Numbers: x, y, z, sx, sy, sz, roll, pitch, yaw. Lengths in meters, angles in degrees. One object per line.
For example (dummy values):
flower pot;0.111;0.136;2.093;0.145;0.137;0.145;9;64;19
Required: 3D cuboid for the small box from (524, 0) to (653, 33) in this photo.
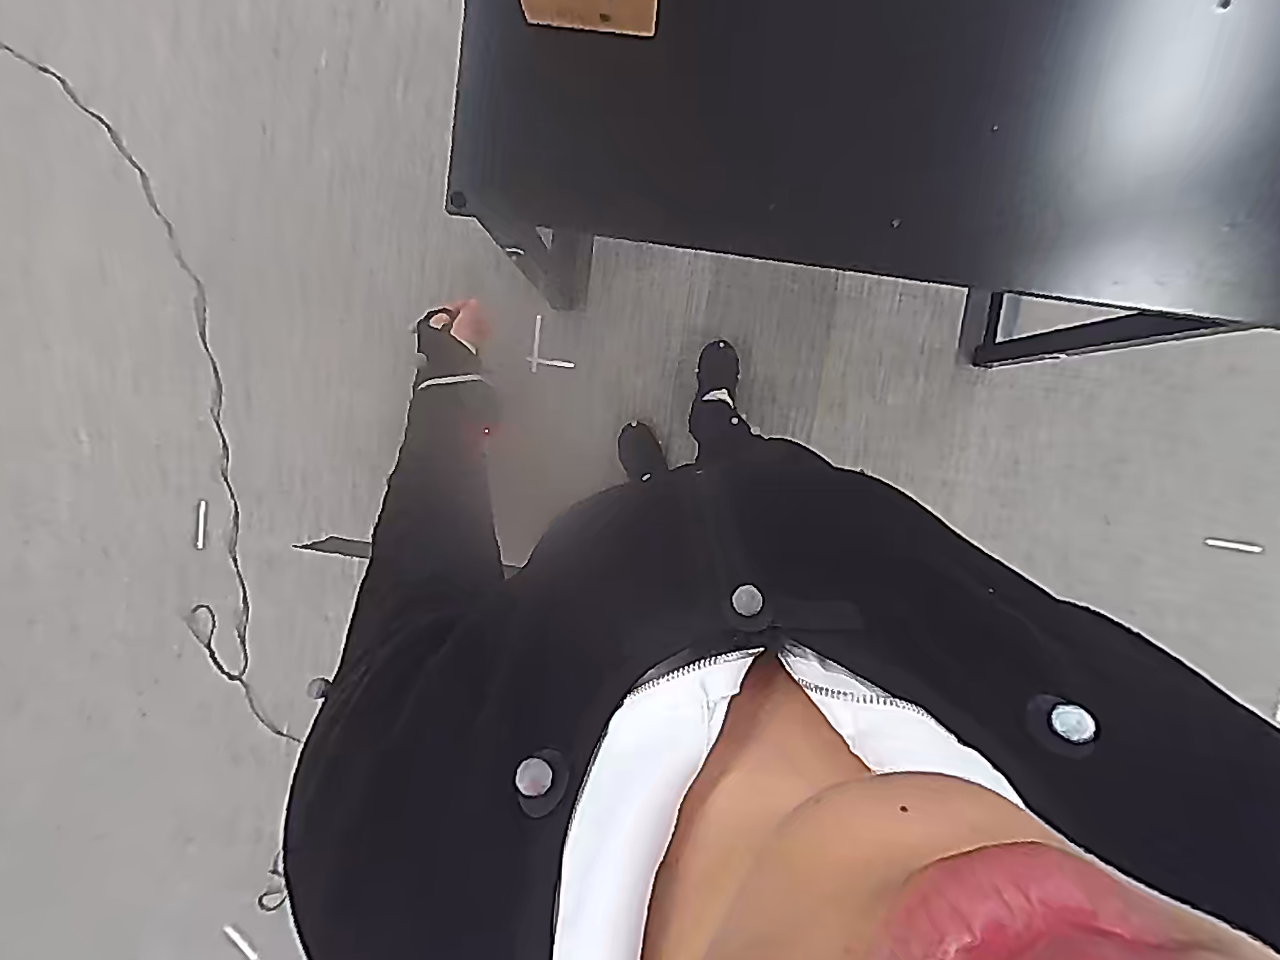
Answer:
small box;-0.060;-0.658;0.611;0.168;0.176;0.179;6;96;-2
